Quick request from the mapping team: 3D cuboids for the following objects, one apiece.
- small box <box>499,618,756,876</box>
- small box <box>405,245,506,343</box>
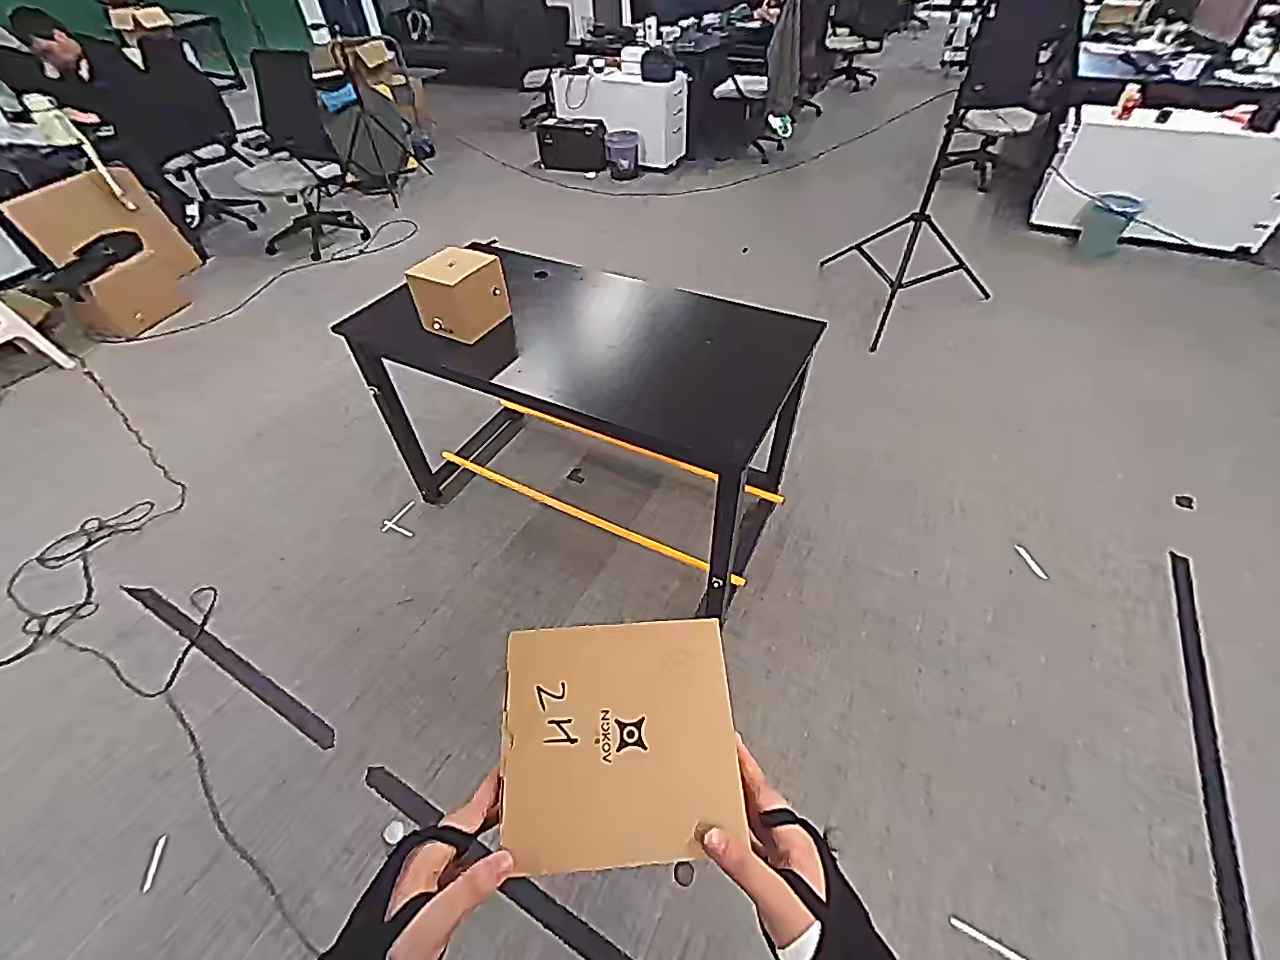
[{"bbox_3d":[-0.015,0.226,0.469,0.179,0.176,0.168,-3,60,-3],"label":"small box"},{"bbox_3d":[-0.472,-0.488,1.417,0.168,0.176,0.179,20,51,21],"label":"small box"}]
